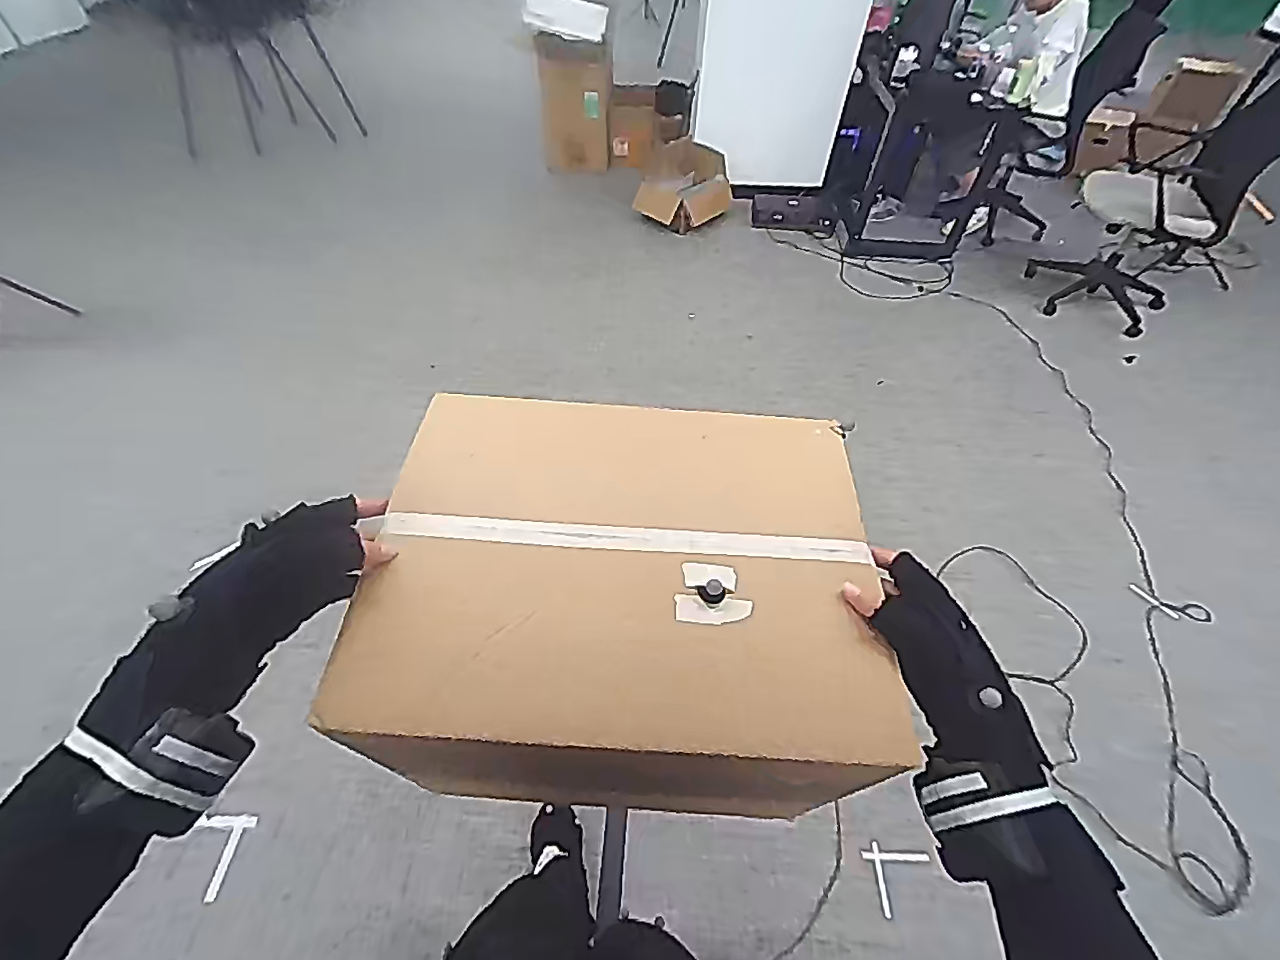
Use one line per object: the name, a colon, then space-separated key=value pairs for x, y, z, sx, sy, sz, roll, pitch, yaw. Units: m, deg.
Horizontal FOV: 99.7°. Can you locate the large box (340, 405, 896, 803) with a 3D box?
large box: x=-0.017 y=0.145 z=0.587 sx=0.408 sy=0.320 sz=0.320 roll=5 pitch=53 yaw=-1
